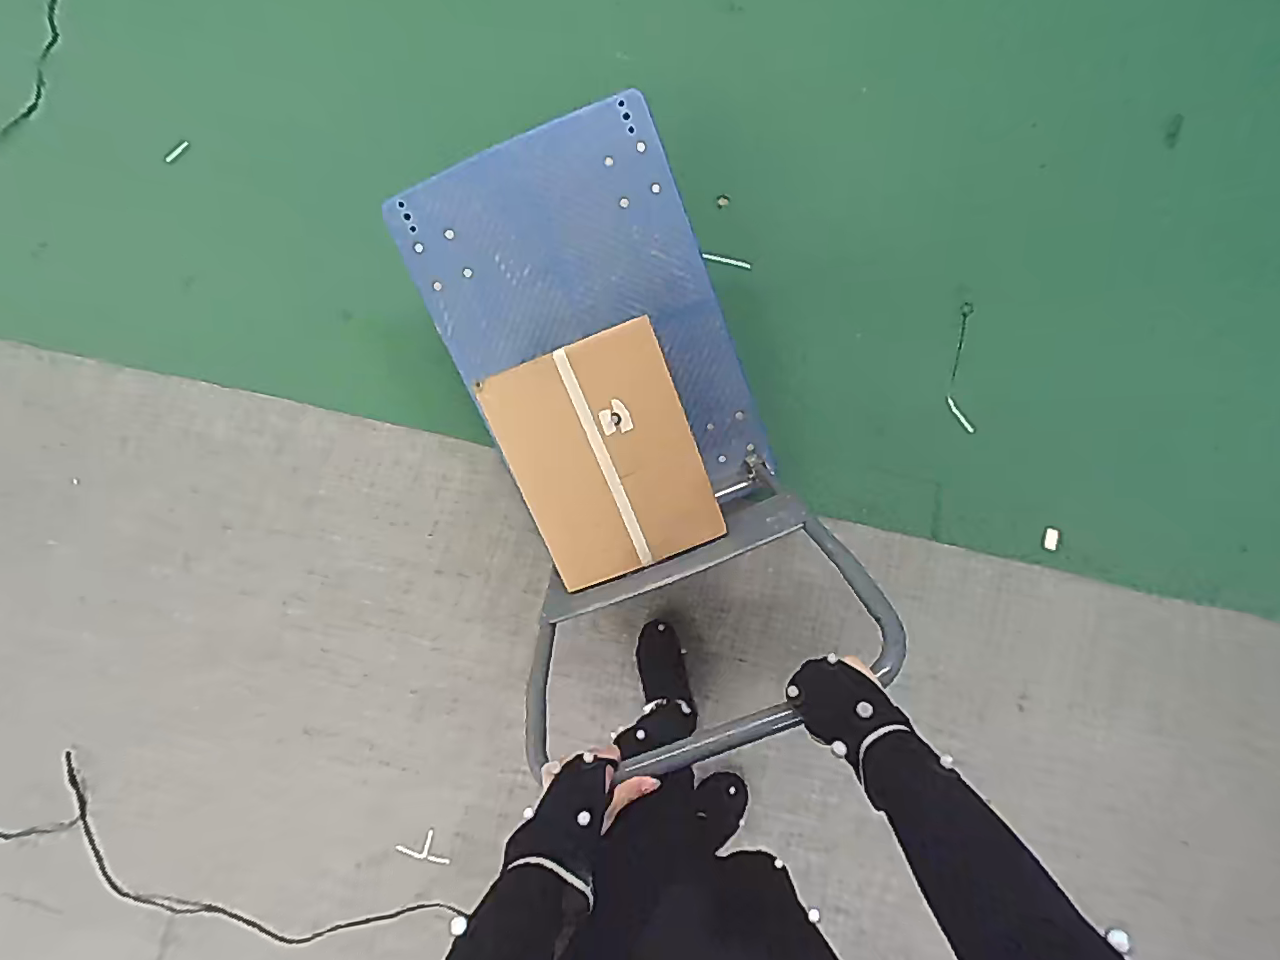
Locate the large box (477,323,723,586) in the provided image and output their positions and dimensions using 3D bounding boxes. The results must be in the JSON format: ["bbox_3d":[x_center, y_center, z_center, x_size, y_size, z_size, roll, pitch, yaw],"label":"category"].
[{"bbox_3d":[-0.064,-0.066,1.098,0.320,0.320,0.408,-22,103,4],"label":"large box"}]
